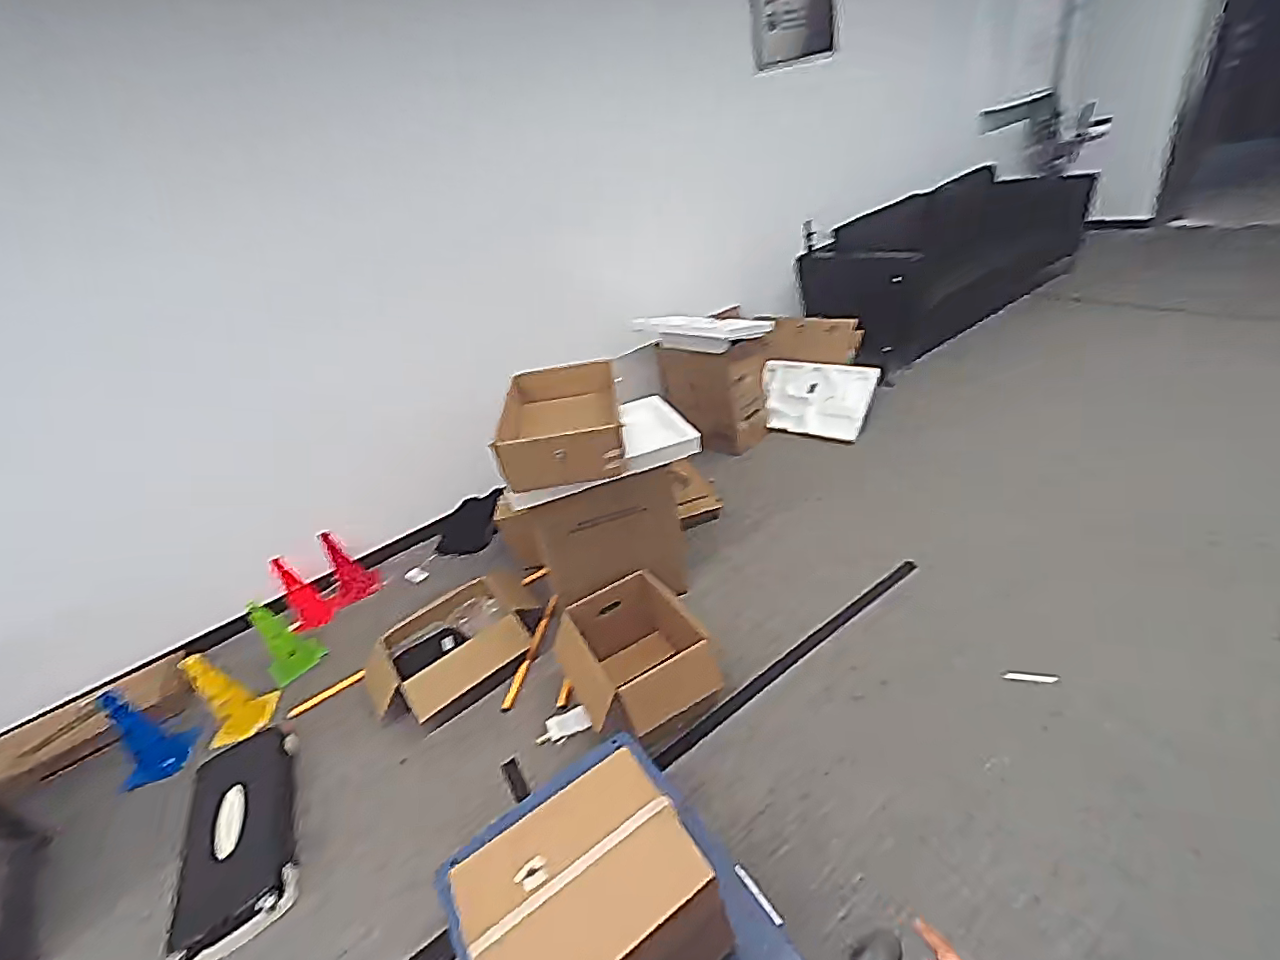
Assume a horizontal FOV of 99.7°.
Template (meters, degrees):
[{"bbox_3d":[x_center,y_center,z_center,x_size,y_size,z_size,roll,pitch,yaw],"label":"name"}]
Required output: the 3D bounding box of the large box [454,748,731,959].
[{"bbox_3d":[-0.083,0.842,1.062,0.408,0.320,0.320,-28,33,-22],"label":"large box"}]
